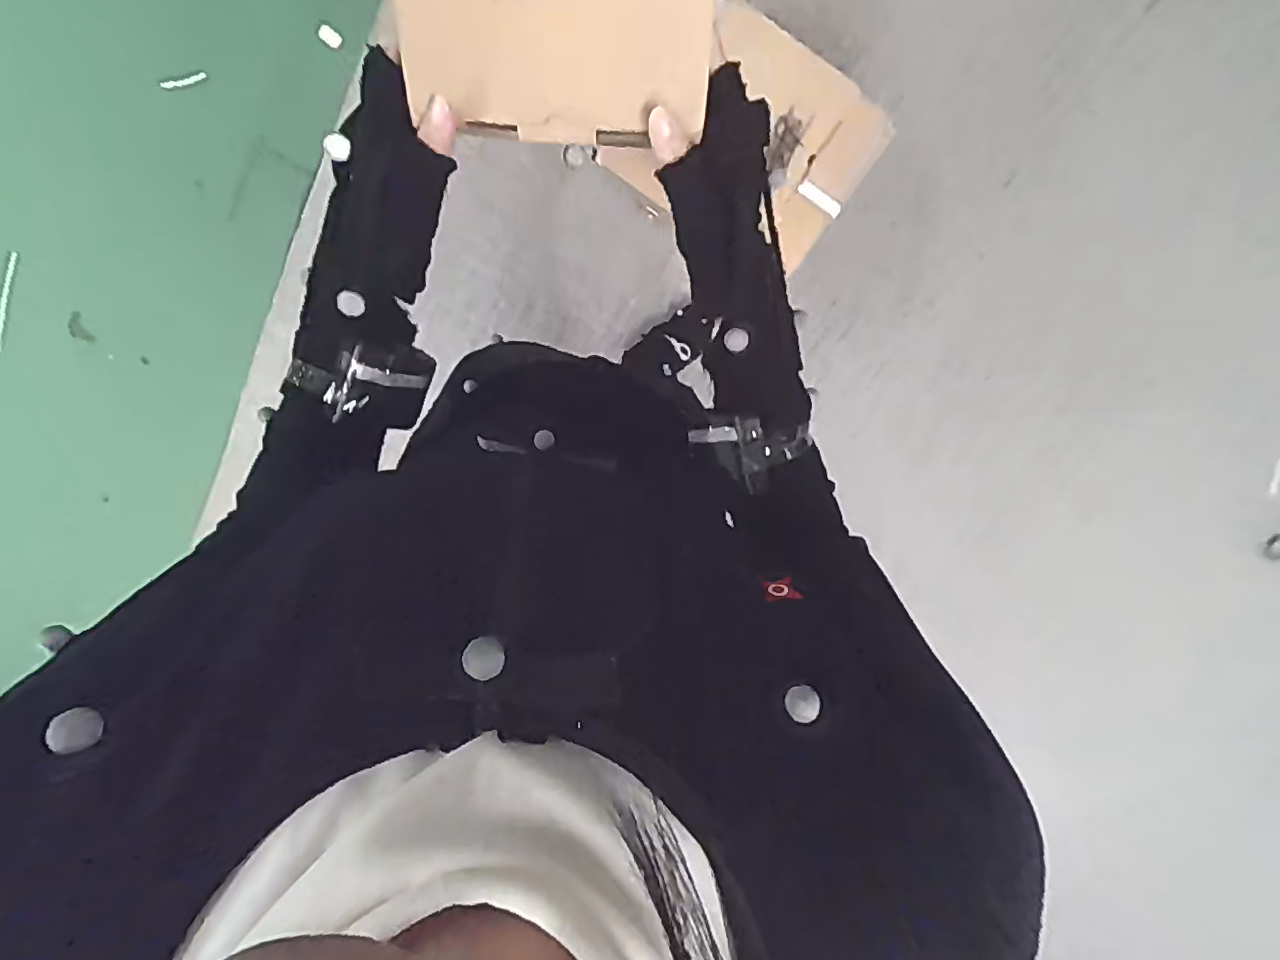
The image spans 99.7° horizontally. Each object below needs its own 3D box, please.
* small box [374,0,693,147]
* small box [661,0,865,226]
[{"bbox_3d":[-0.050,-0.307,0.327,0.168,0.176,0.179,2,121,1],"label":"small box"},{"bbox_3d":[0.147,-0.446,0.690,0.179,0.176,0.168,33,112,-4],"label":"small box"}]
